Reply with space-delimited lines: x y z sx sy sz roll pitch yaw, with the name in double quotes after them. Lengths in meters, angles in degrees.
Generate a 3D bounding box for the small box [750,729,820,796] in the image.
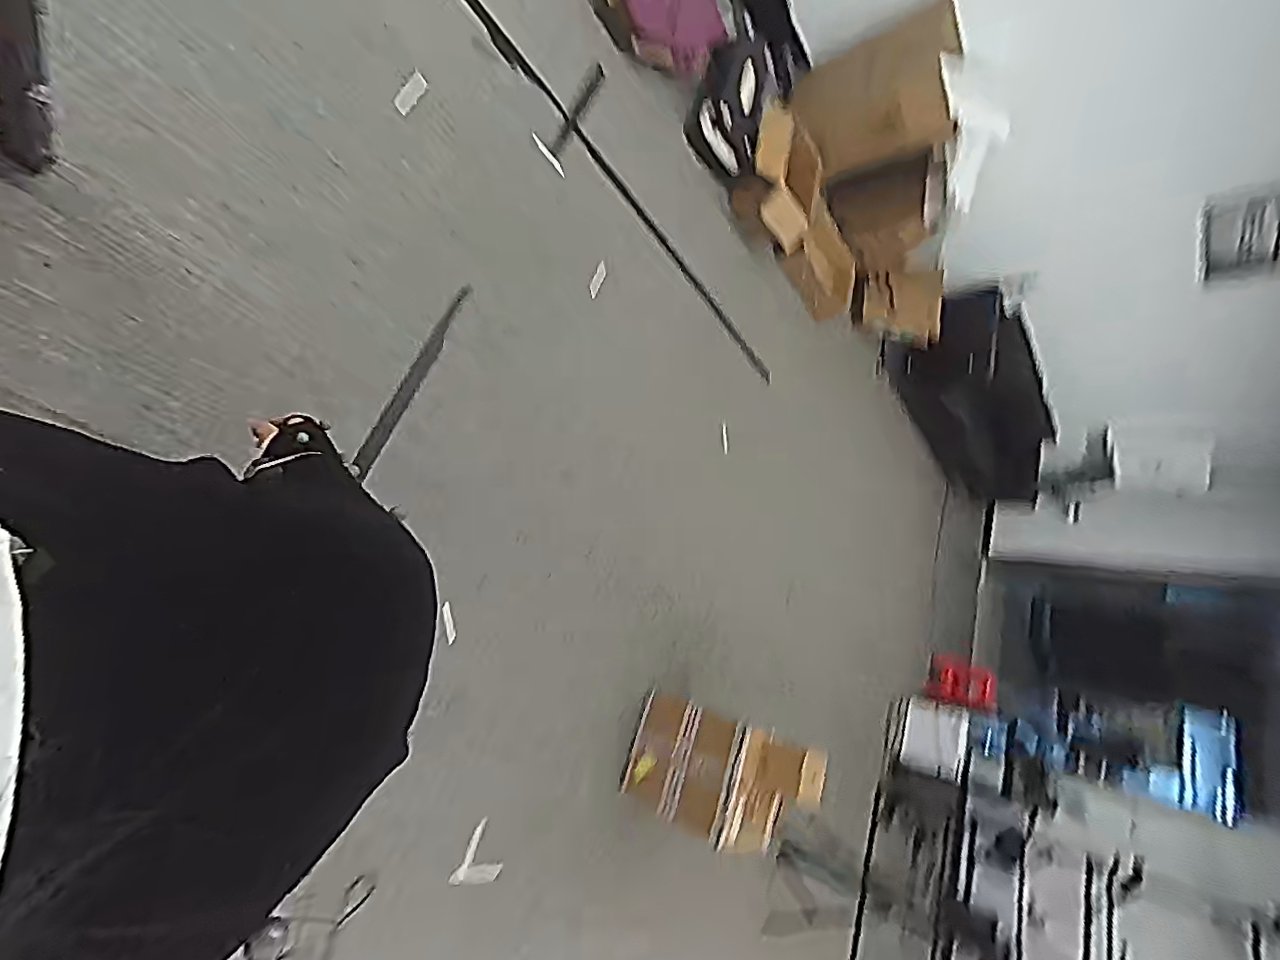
0.527 1.023 1.967 0.179 0.176 0.168 37 61 -37 "small box"
